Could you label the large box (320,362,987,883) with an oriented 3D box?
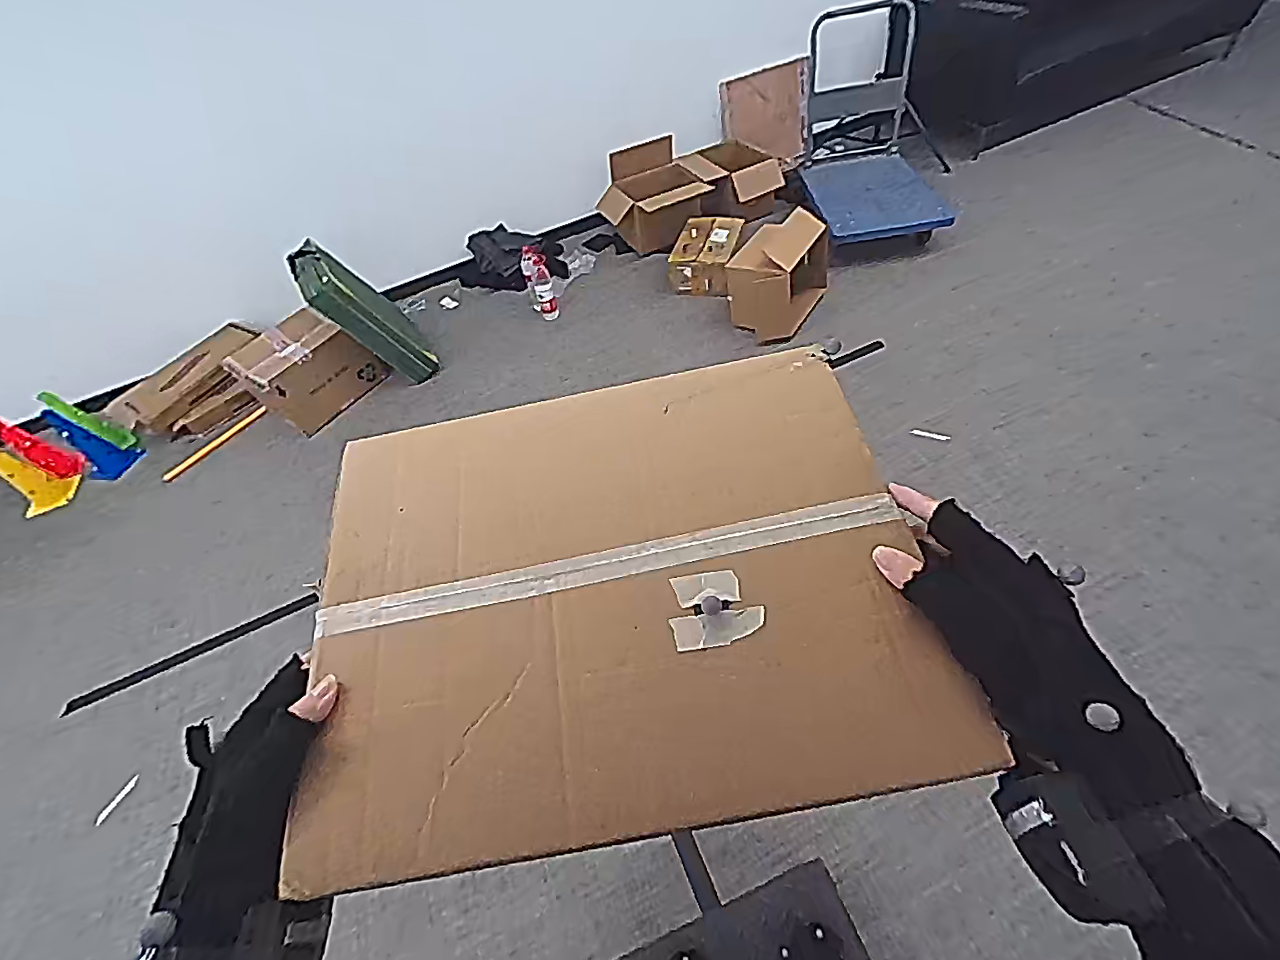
[{"bbox_3d":[-0.001,0.142,0.514,0.408,0.320,0.320,-11,59,1],"label":"large box"}]
